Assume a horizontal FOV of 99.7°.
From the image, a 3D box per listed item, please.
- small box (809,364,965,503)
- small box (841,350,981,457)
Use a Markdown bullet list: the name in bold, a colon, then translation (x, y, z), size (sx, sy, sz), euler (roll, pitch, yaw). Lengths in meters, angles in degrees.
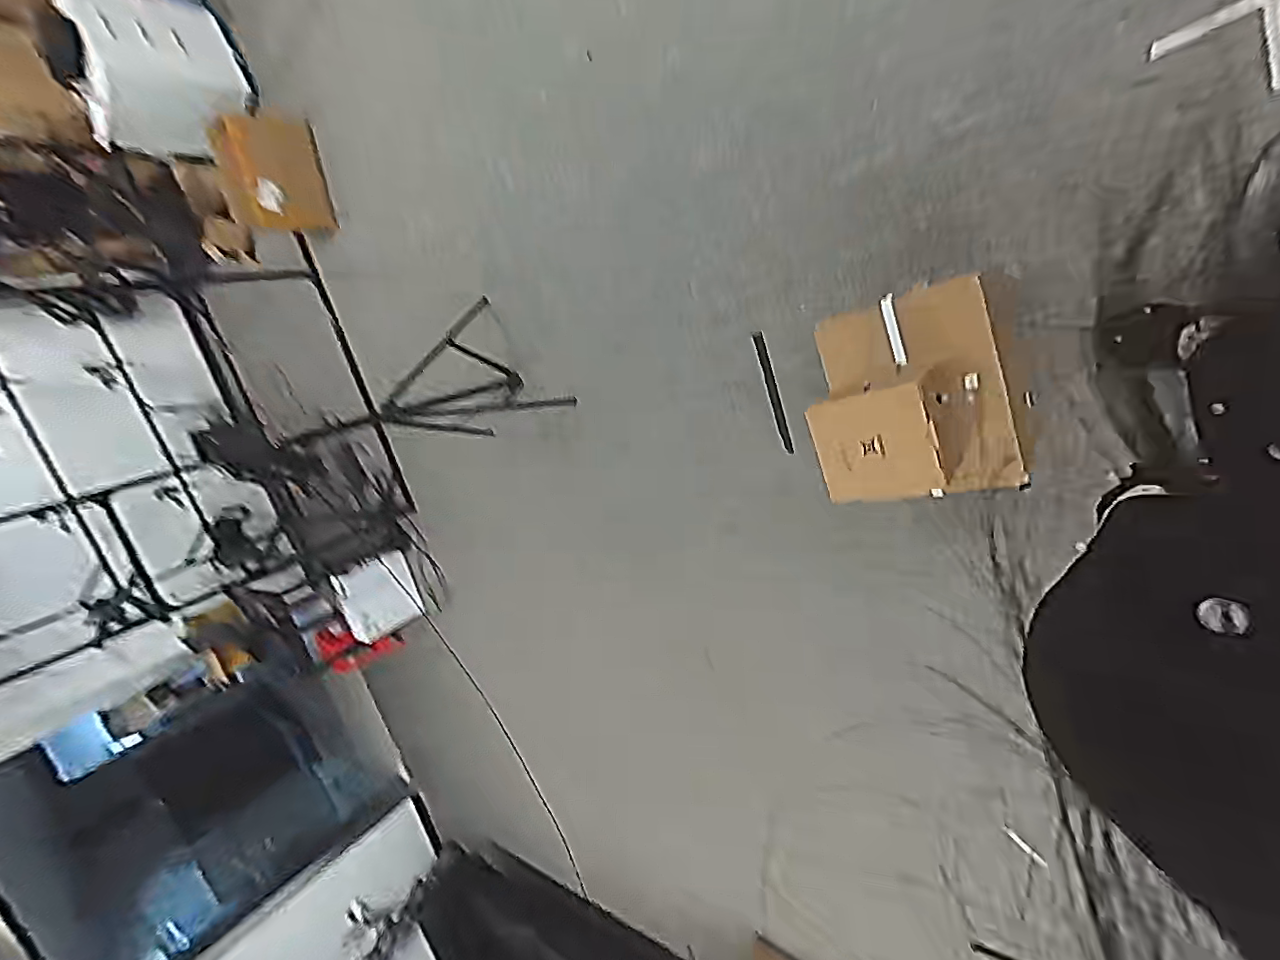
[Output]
- **small box**: translation (0.408, -0.078, 0.879), size (0.179, 0.176, 0.168), euler (-13, 101, 44)
- **small box**: translation (0.504, -0.127, 1.001), size (0.179, 0.176, 0.168), euler (-12, 103, 42)
